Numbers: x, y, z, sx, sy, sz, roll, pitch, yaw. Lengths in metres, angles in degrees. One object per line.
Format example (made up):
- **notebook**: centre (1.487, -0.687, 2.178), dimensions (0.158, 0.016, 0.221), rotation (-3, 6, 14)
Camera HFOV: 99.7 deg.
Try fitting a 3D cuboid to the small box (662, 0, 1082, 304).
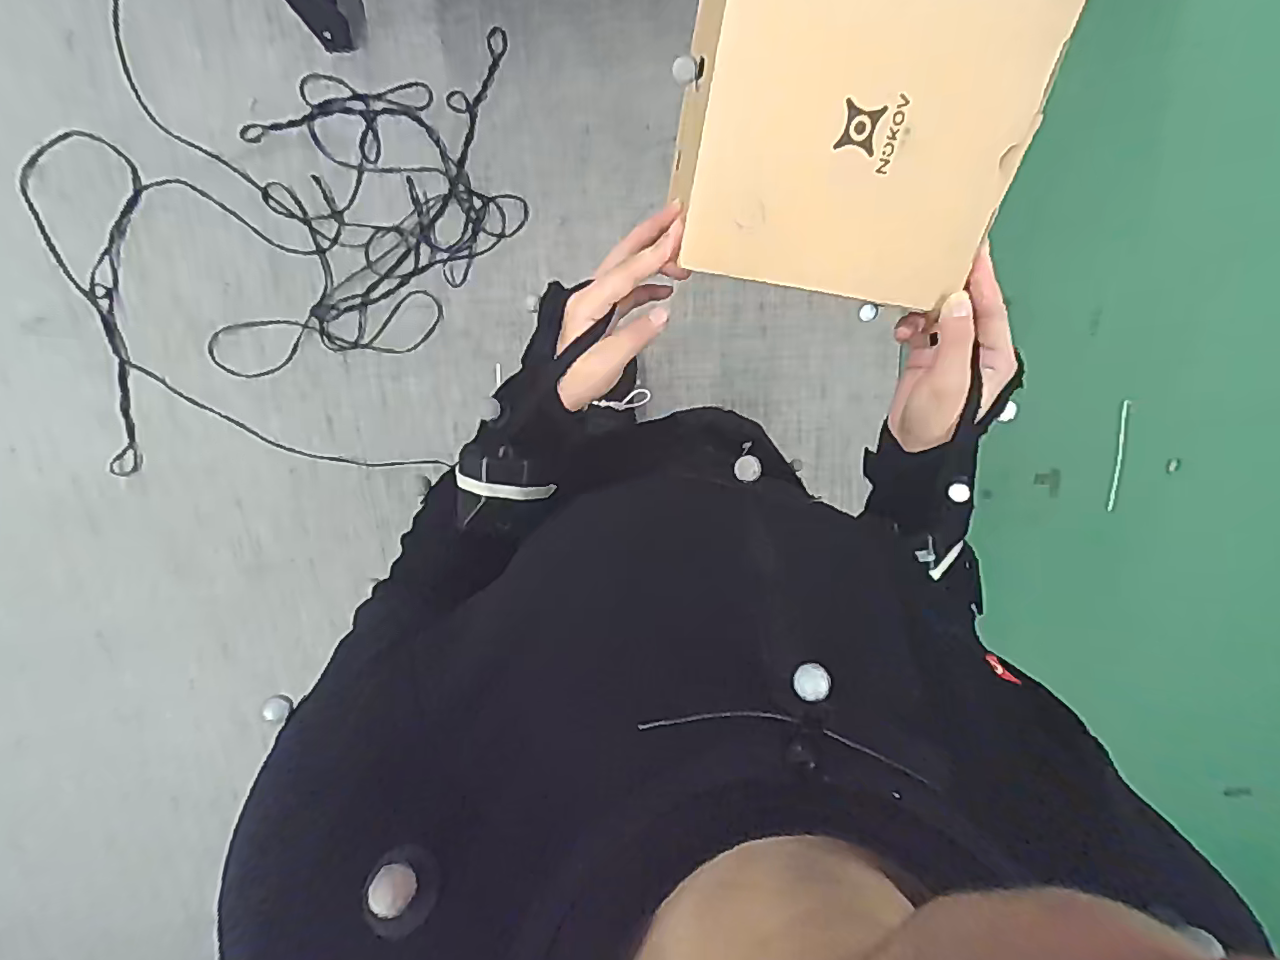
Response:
- **small box**: centre (0.115, -0.224, 0.352), dimensions (0.179, 0.176, 0.168), rotation (7, 117, -7)
